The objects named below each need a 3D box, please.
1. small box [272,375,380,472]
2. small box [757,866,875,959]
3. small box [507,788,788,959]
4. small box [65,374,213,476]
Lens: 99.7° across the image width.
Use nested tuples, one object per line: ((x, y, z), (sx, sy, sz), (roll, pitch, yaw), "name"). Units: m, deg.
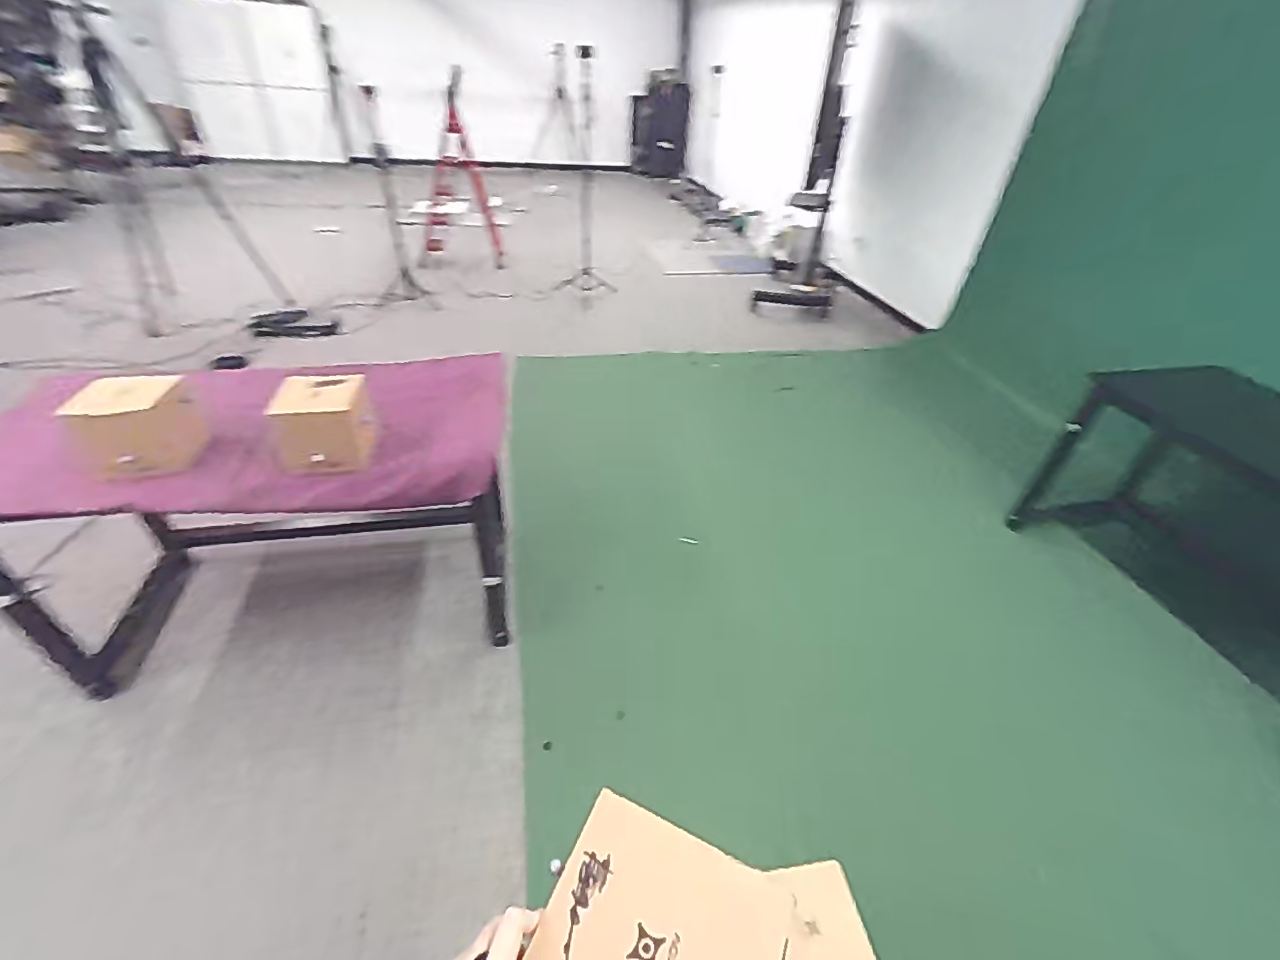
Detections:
((-0.733, -0.136, 1.287), (0.168, 0.176, 0.179), (-4, 38, -10), "small box")
((0.260, 0.767, 0.888), (0.179, 0.176, 0.168), (-3, 38, -9), "small box")
((-0.006, 0.394, 0.436), (0.179, 0.176, 0.168), (22, 44, 13), "small box")
((-1.125, -0.128, 1.237), (0.168, 0.176, 0.179), (-5, 37, -11), "small box")
